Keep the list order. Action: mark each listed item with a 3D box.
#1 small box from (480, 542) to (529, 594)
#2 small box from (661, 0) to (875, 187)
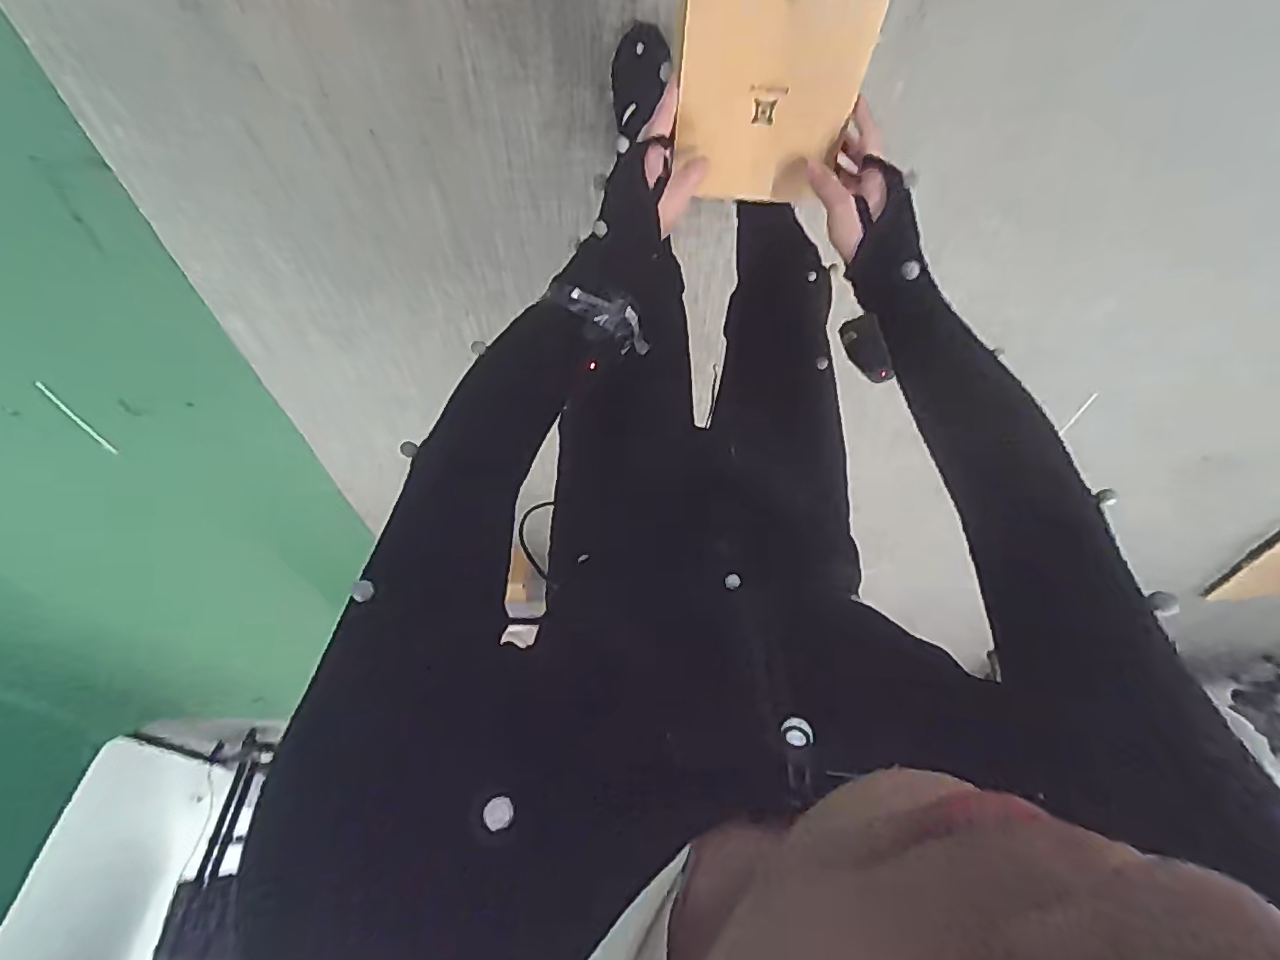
[{"bbox_3d":[-0.579,0.379,2.329,0.179,0.176,0.168,0,142,-2],"label":"small box"},{"bbox_3d":[0.111,-0.426,0.537,0.168,0.176,0.179,3,145,0],"label":"small box"}]
